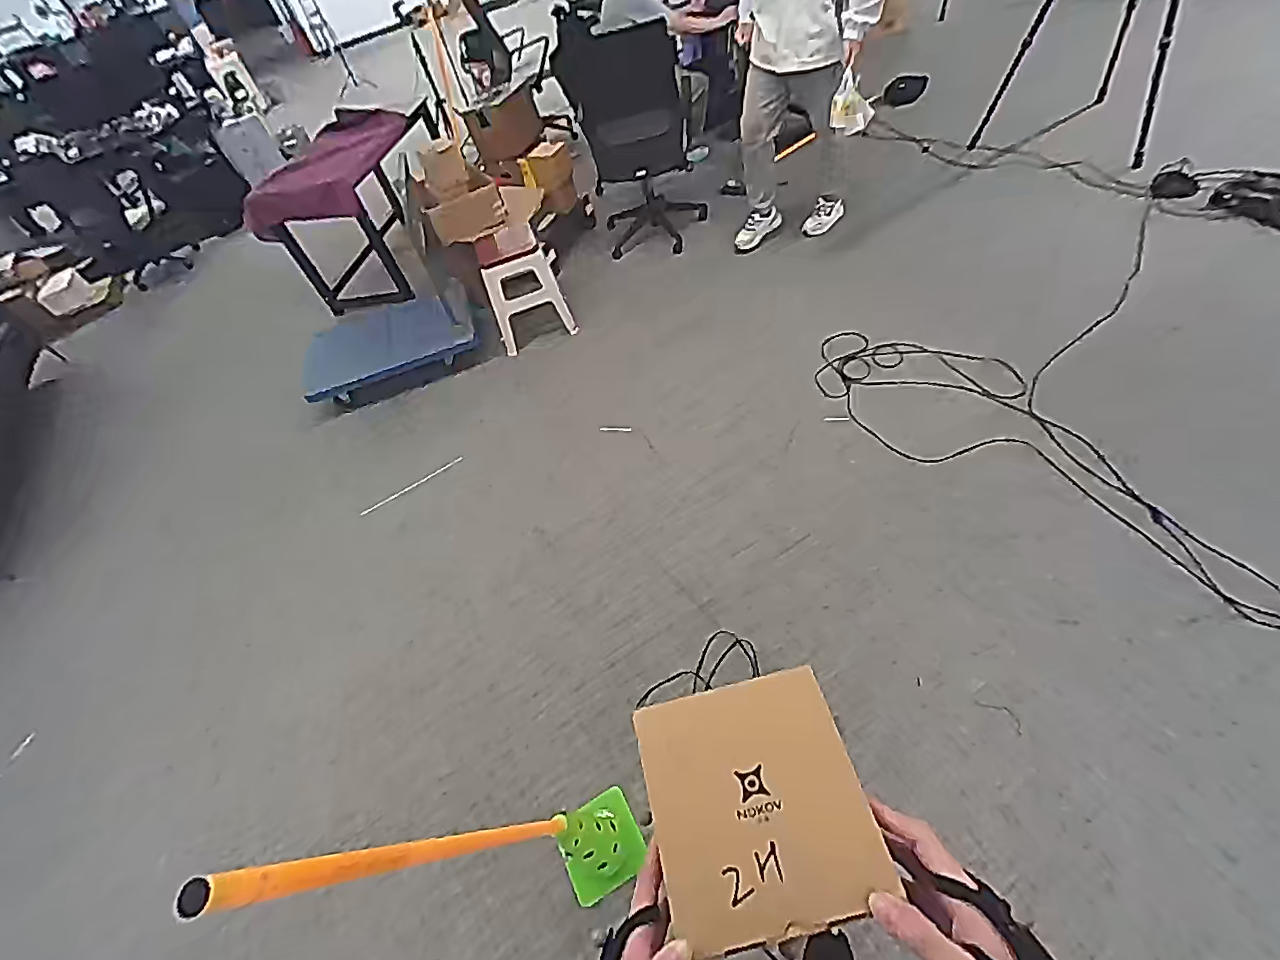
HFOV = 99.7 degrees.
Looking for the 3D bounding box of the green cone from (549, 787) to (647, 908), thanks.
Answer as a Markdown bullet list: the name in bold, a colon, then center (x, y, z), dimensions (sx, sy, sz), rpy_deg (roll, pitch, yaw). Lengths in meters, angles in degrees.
- **green cone**: center (-0.135, 0.803, 1.216), dimensions (0.202, 0.368, 0.200), rpy_deg (-29, 51, -11)
